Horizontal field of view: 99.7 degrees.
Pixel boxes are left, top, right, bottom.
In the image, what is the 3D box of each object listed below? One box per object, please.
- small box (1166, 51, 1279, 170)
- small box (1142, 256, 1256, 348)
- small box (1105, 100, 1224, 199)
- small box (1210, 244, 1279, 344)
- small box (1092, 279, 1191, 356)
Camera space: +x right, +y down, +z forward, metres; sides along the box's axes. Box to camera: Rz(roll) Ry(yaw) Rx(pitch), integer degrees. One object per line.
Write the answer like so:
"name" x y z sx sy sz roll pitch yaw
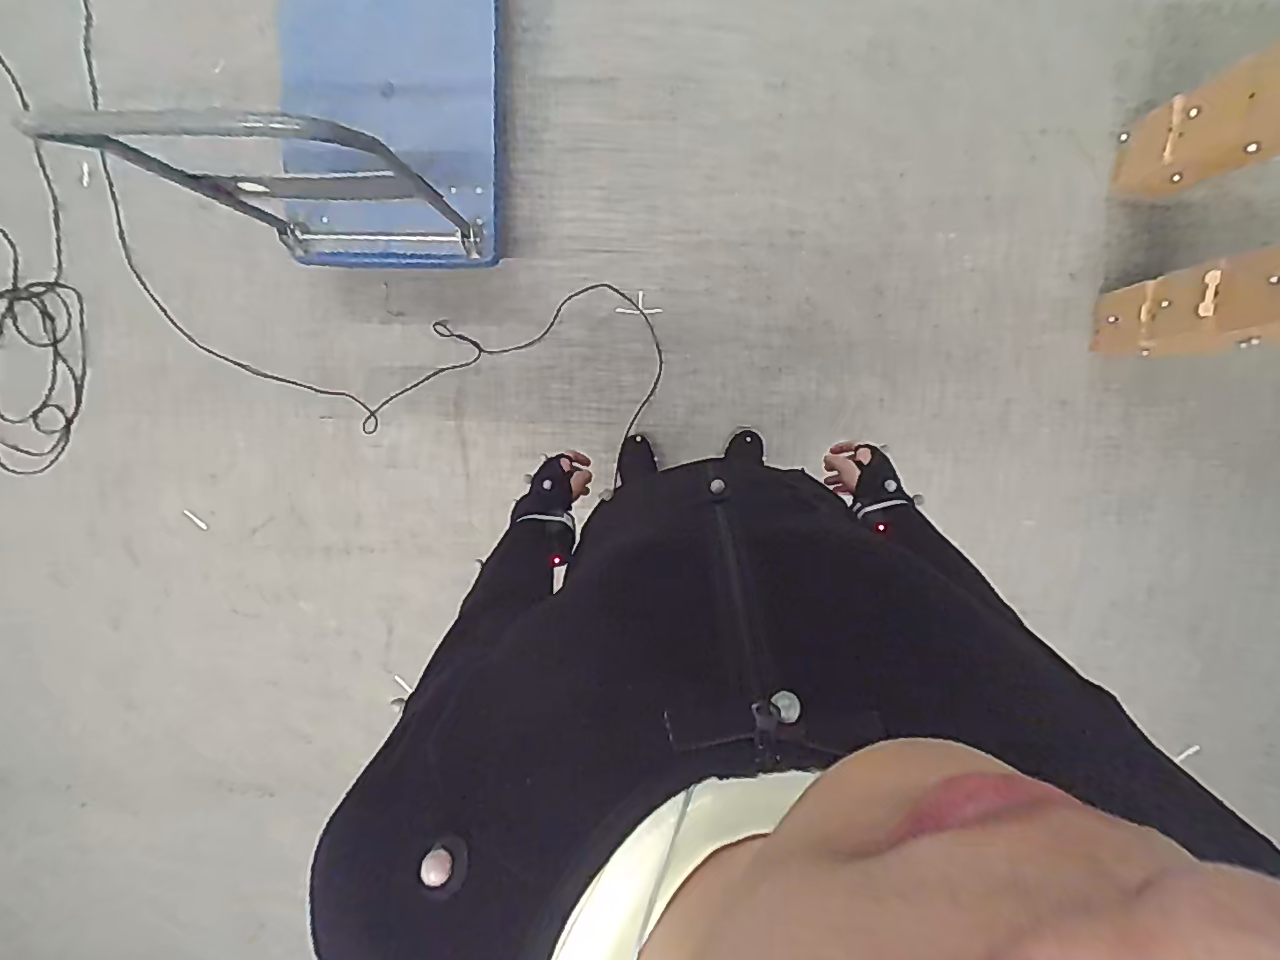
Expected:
"small box" 1.402 -0.847 1.257 0.179 0.176 0.168 7 96 2
"small box" 1.377 -0.417 1.294 0.179 0.176 0.168 8 95 2
"small box" 1.396 -0.868 1.435 0.179 0.176 0.168 7 96 1
"small box" 1.369 -0.396 1.132 0.168 0.176 0.179 8 95 3
"small box" 1.375 -0.432 1.458 0.179 0.176 0.168 4 95 3
